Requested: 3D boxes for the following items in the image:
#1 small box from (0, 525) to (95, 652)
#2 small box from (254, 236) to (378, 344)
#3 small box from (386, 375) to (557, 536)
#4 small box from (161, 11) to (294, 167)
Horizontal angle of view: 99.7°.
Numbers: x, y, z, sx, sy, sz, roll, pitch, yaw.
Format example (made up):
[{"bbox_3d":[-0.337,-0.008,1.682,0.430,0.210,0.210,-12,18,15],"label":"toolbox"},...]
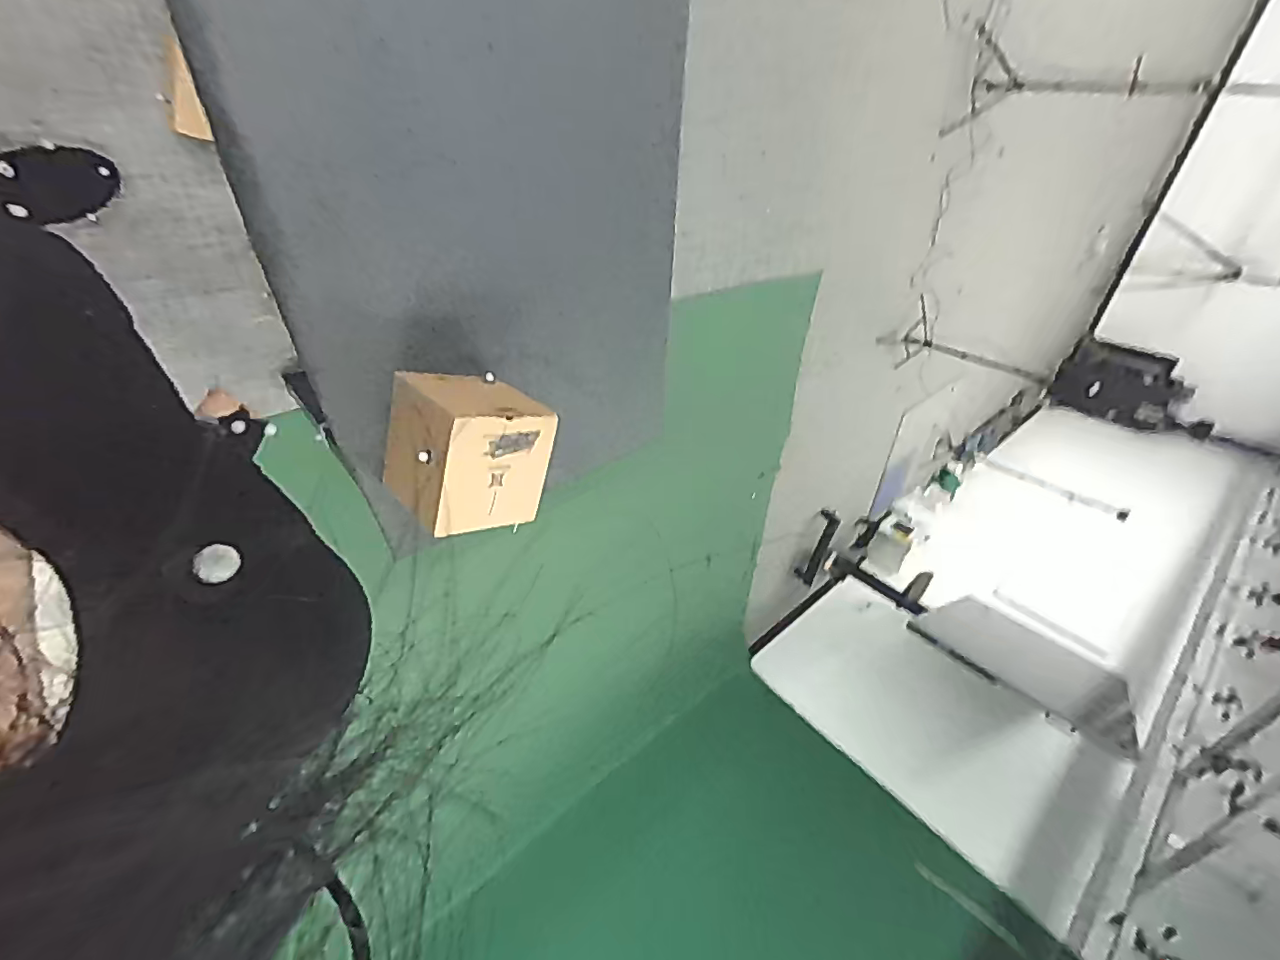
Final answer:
[{"bbox_3d":[-1.269,0.217,1.095,0.168,0.176,0.179,-51,142,-5],"label":"small box"},{"bbox_3d":[-0.721,-0.425,1.198,0.179,0.176,0.168,-31,137,-29],"label":"small box"},{"bbox_3d":[-0.249,-0.044,0.785,0.168,0.176,0.179,-7,121,-47],"label":"small box"},{"bbox_3d":[-0.744,-0.693,0.976,0.168,0.176,0.179,-6,120,-45],"label":"small box"}]
